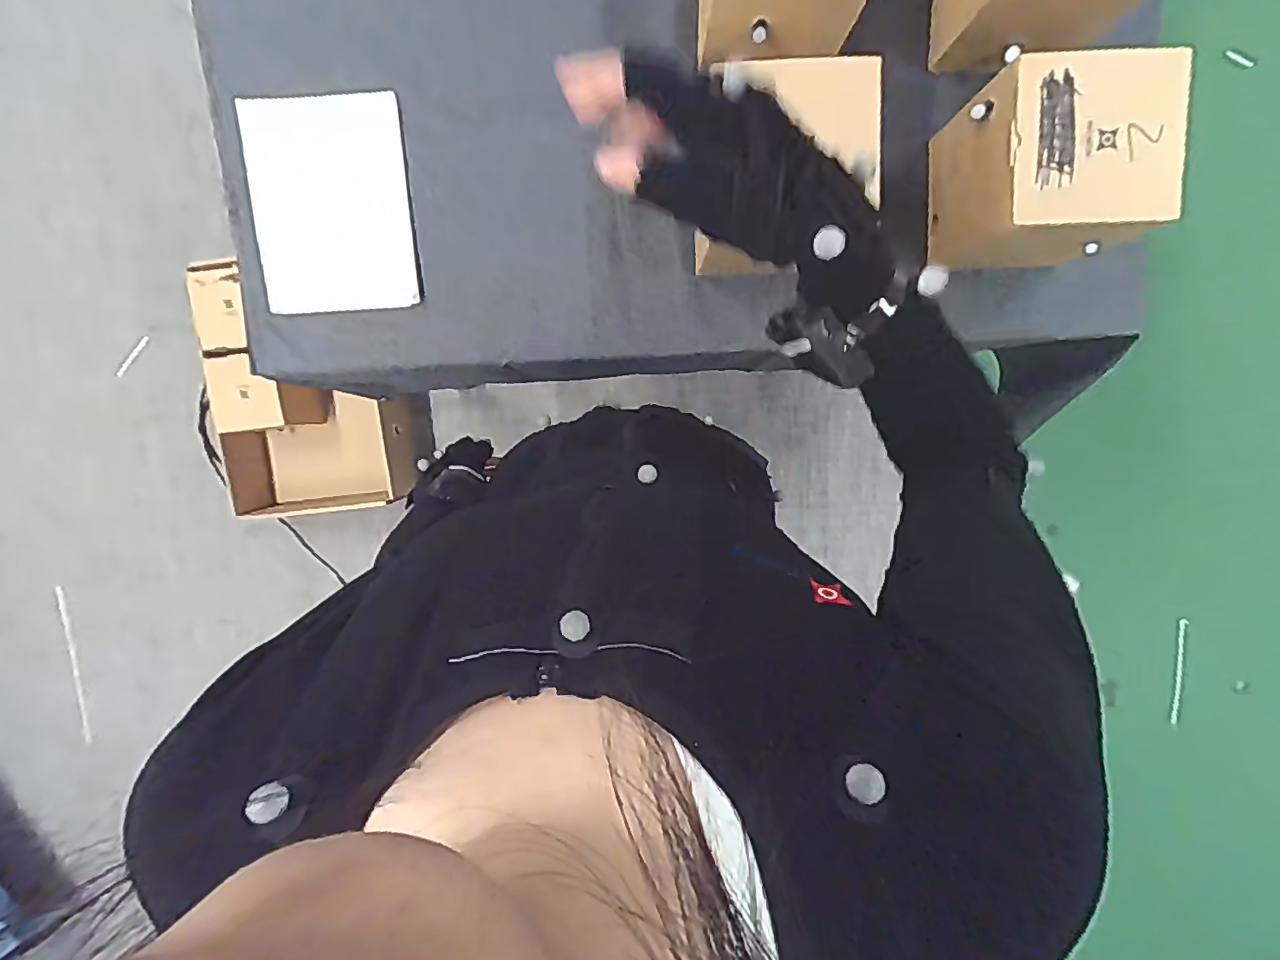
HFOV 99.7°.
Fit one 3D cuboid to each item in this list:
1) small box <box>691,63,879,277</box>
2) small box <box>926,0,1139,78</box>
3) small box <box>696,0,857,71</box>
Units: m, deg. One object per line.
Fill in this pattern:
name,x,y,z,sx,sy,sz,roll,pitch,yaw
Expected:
small box,0.156,-0.344,0.631,0.179,0.176,0.168,-2,95,1
small box,0.443,-0.593,0.601,0.168,0.176,0.179,0,97,1
small box,0.153,-0.588,0.606,0.168,0.176,0.179,0,96,0
